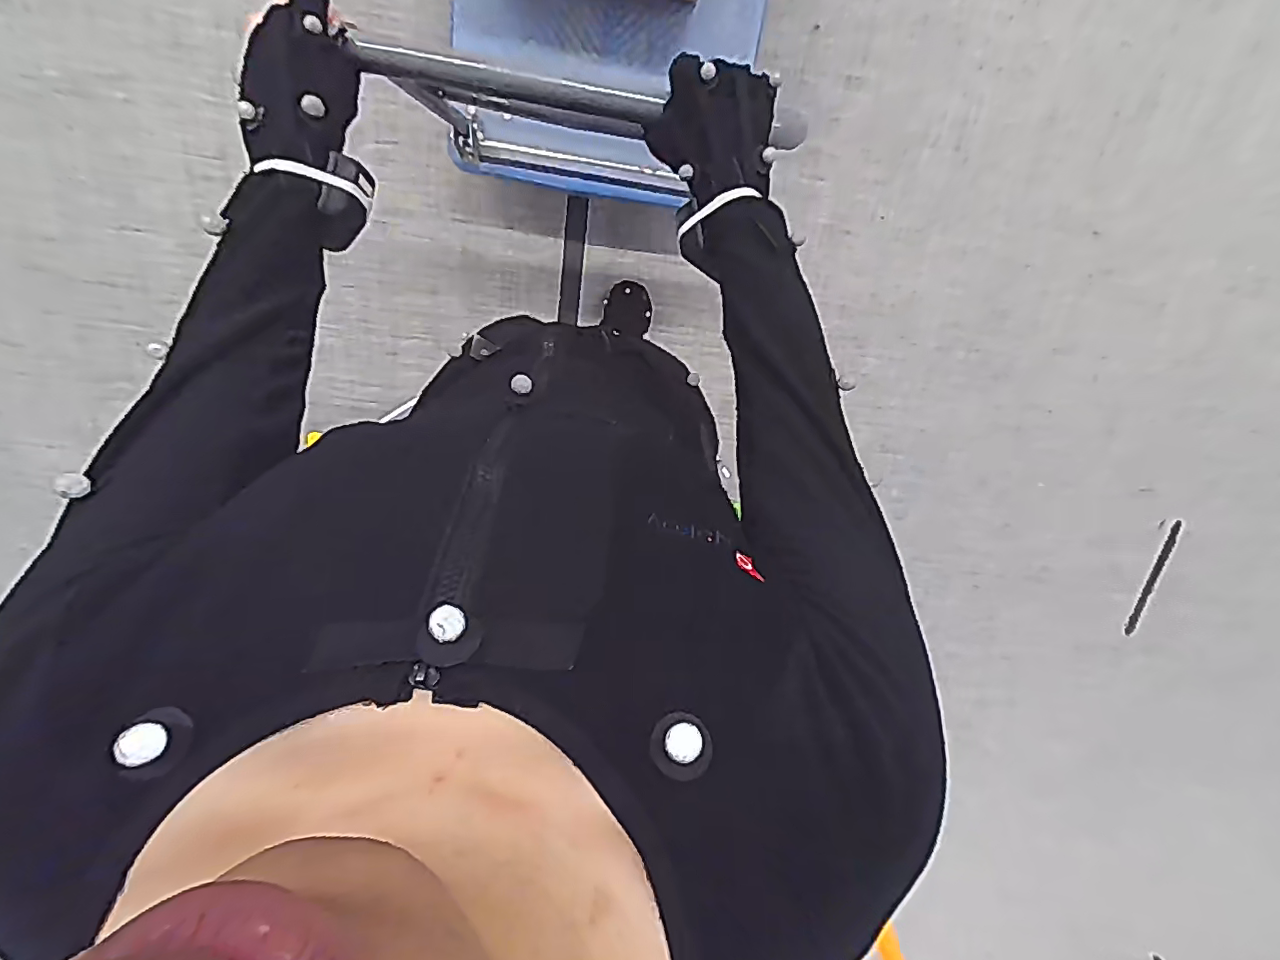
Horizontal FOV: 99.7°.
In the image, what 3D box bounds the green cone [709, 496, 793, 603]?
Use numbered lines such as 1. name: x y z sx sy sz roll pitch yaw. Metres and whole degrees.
1. green cone: 0.320 0.209 1.413 0.202 0.368 0.200 10 110 -6
